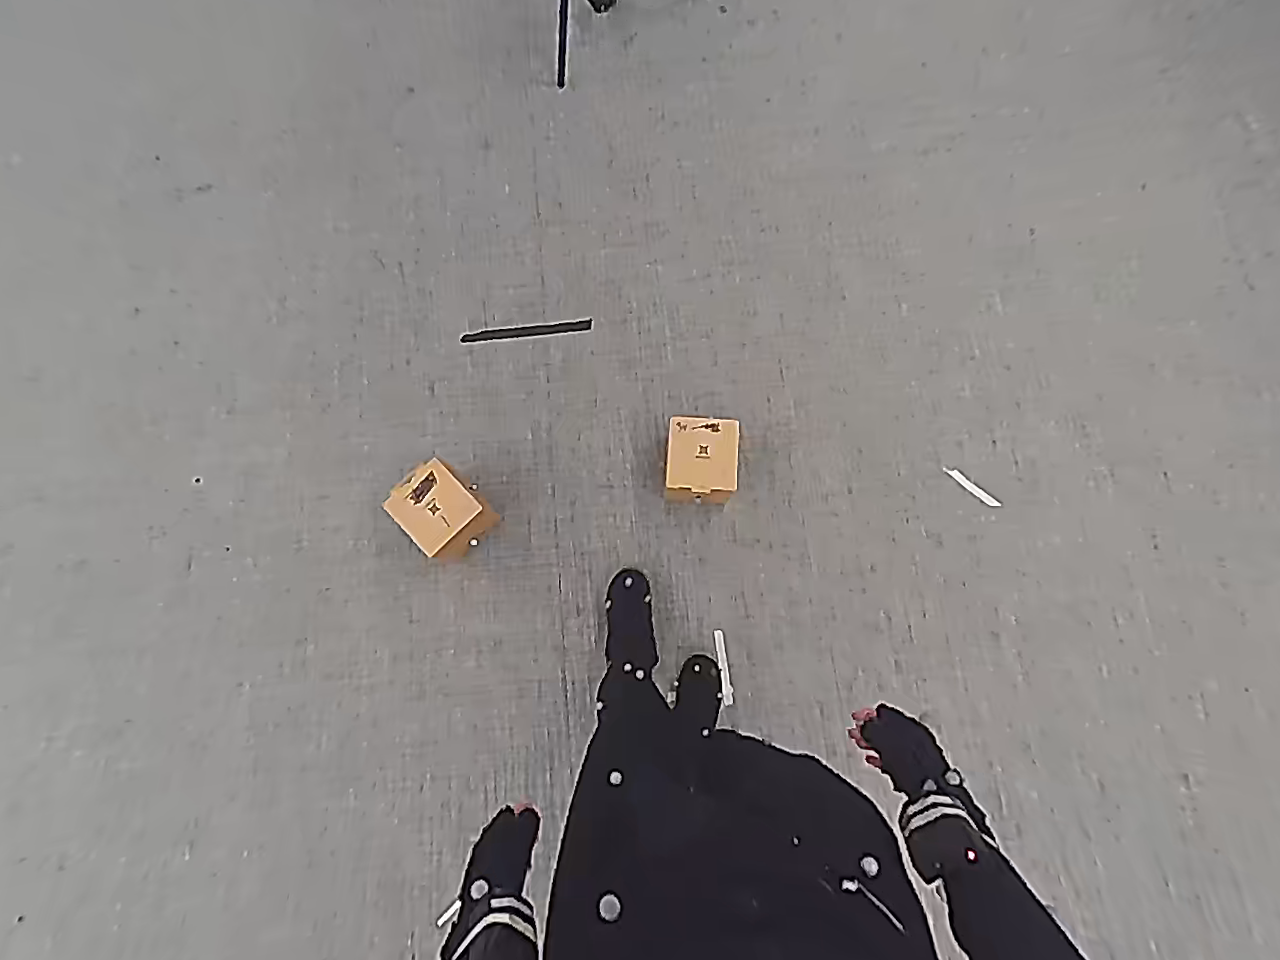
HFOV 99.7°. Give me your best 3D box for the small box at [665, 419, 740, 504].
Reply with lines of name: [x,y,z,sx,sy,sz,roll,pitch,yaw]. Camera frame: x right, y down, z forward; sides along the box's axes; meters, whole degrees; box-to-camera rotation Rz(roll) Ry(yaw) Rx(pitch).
small box: [0.150,-0.040,1.341,0.168,0.176,0.179,4,79,1]

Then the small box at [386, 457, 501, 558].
small box: [-0.472,0.076,1.324,0.168,0.176,0.179,-44,82,-7]
